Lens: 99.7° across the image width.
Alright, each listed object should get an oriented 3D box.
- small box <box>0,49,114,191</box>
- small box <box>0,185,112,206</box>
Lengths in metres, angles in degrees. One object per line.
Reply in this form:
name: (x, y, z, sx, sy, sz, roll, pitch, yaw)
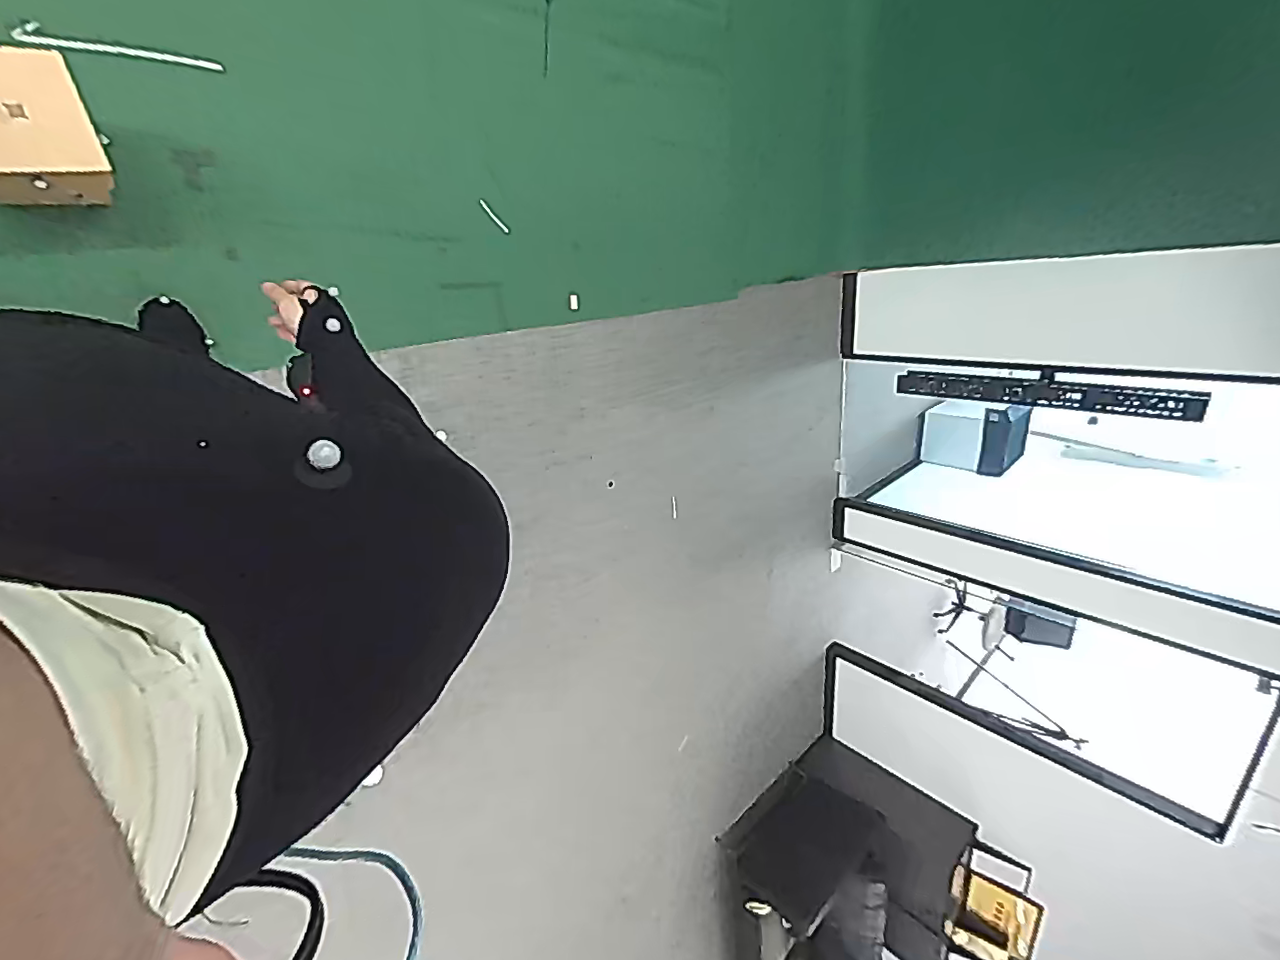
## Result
small box: (-0.998, -0.572, 0.872, 0.179, 0.176, 0.168, -24, 118, -34)
small box: (-1.111, -0.603, 0.985, 0.179, 0.176, 0.168, -22, 116, -37)
